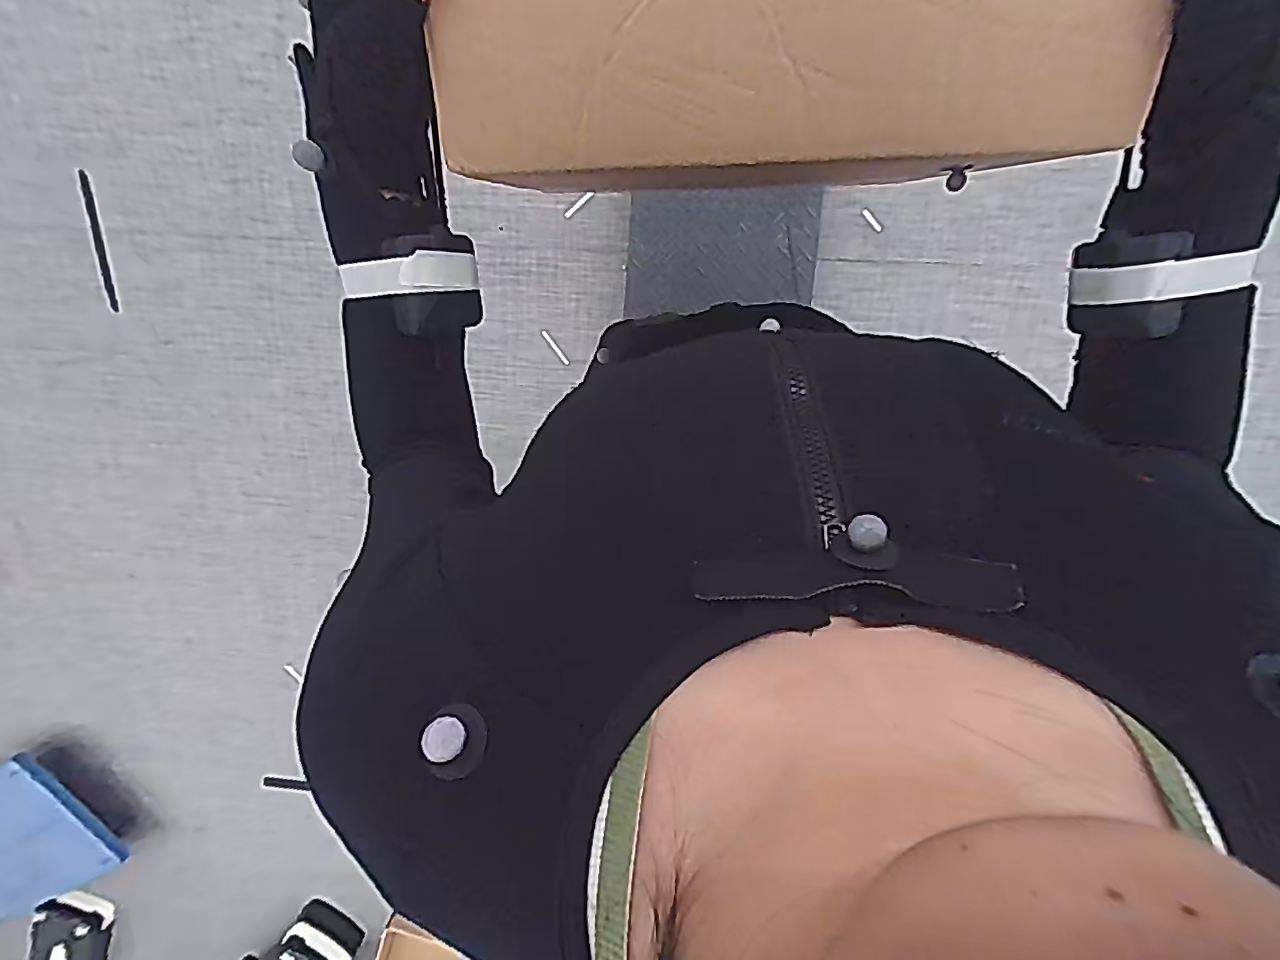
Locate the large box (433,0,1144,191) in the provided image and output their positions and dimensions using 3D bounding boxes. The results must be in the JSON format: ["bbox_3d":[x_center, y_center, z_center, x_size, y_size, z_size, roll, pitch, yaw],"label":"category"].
[{"bbox_3d":[0.083,-0.400,0.402,0.408,0.320,0.320,-1,116,2],"label":"large box"}]
